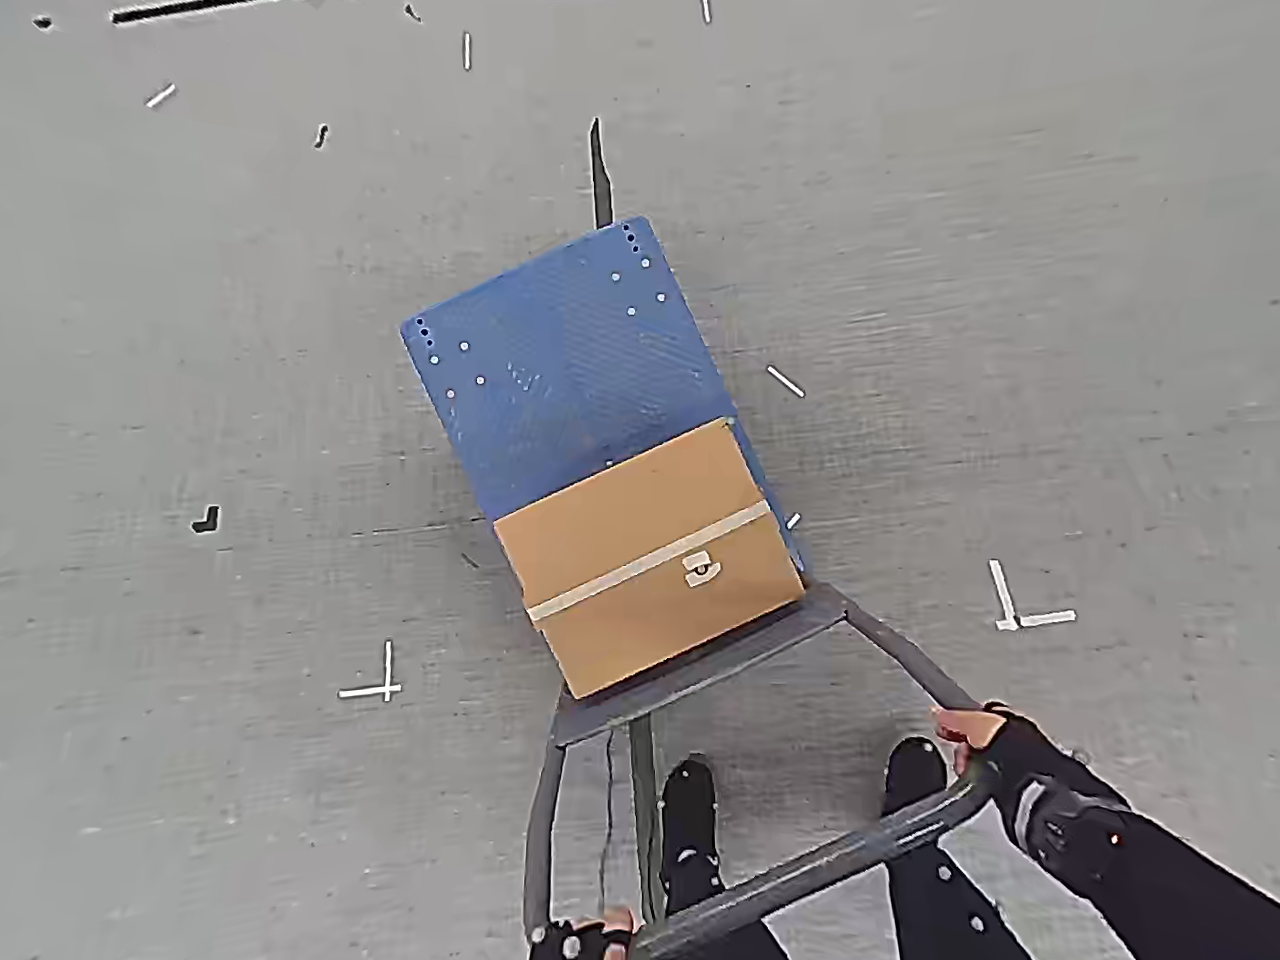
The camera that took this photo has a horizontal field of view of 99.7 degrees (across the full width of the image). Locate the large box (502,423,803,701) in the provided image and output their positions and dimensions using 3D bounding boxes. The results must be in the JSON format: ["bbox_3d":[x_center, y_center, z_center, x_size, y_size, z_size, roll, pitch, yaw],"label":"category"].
[{"bbox_3d":[0.016,0.132,1.006,0.408,0.320,0.320,-25,92,-1],"label":"large box"}]
